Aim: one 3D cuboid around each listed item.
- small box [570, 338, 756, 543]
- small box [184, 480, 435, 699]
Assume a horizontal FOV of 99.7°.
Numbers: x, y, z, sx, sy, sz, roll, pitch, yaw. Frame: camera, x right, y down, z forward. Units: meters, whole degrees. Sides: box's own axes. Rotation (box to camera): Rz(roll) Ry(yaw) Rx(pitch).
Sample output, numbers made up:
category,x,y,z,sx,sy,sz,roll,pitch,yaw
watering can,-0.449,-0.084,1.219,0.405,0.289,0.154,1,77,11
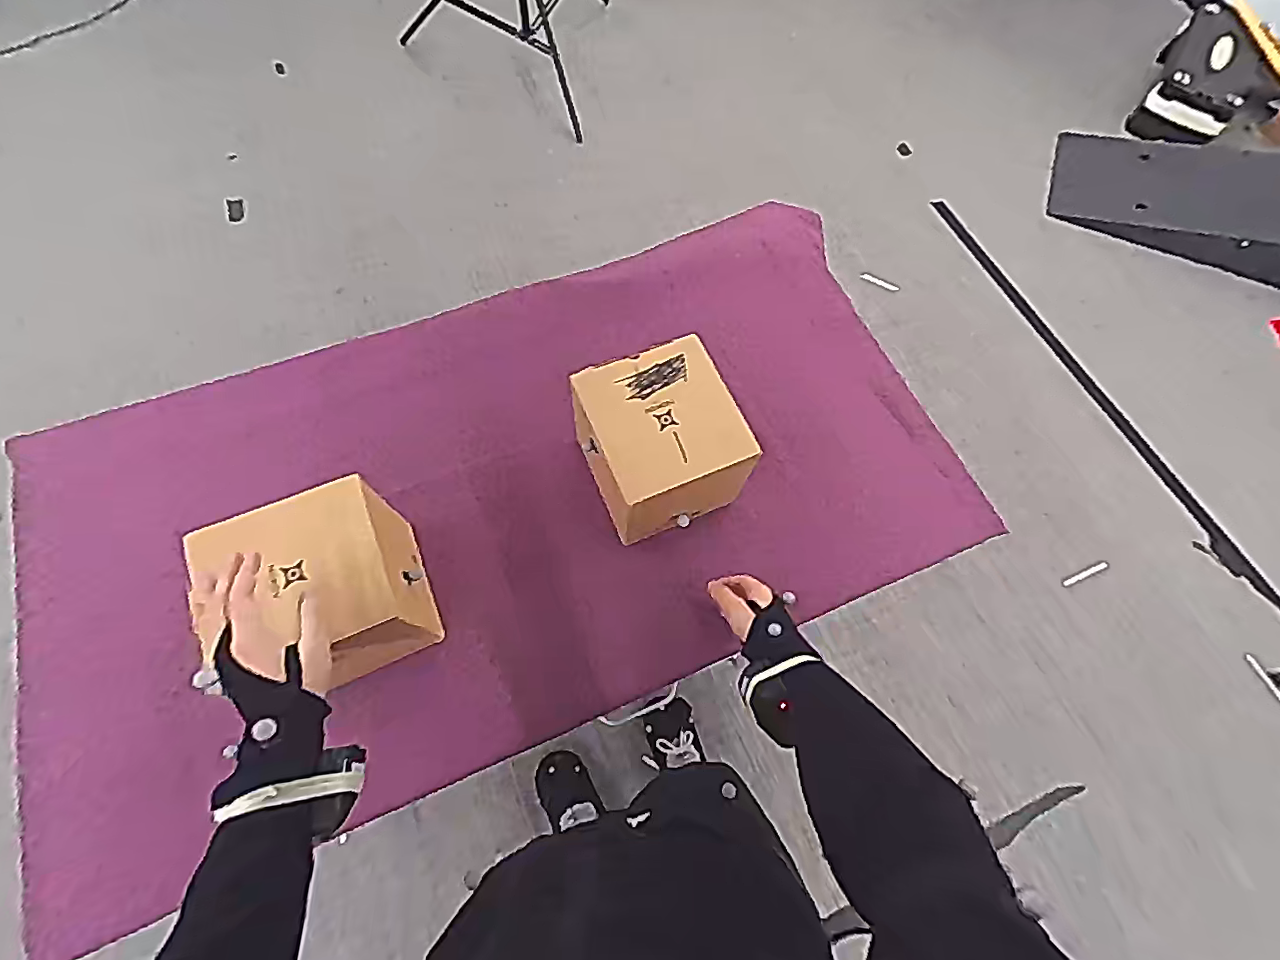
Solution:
category,x,y,z,sx,sy,sz,roll,pitch,yaw
small box,0.019,-0.043,0.691,0.168,0.176,0.179,-21,71,-11
small box,-0.348,0.127,0.605,0.179,0.176,0.168,-23,70,-11
